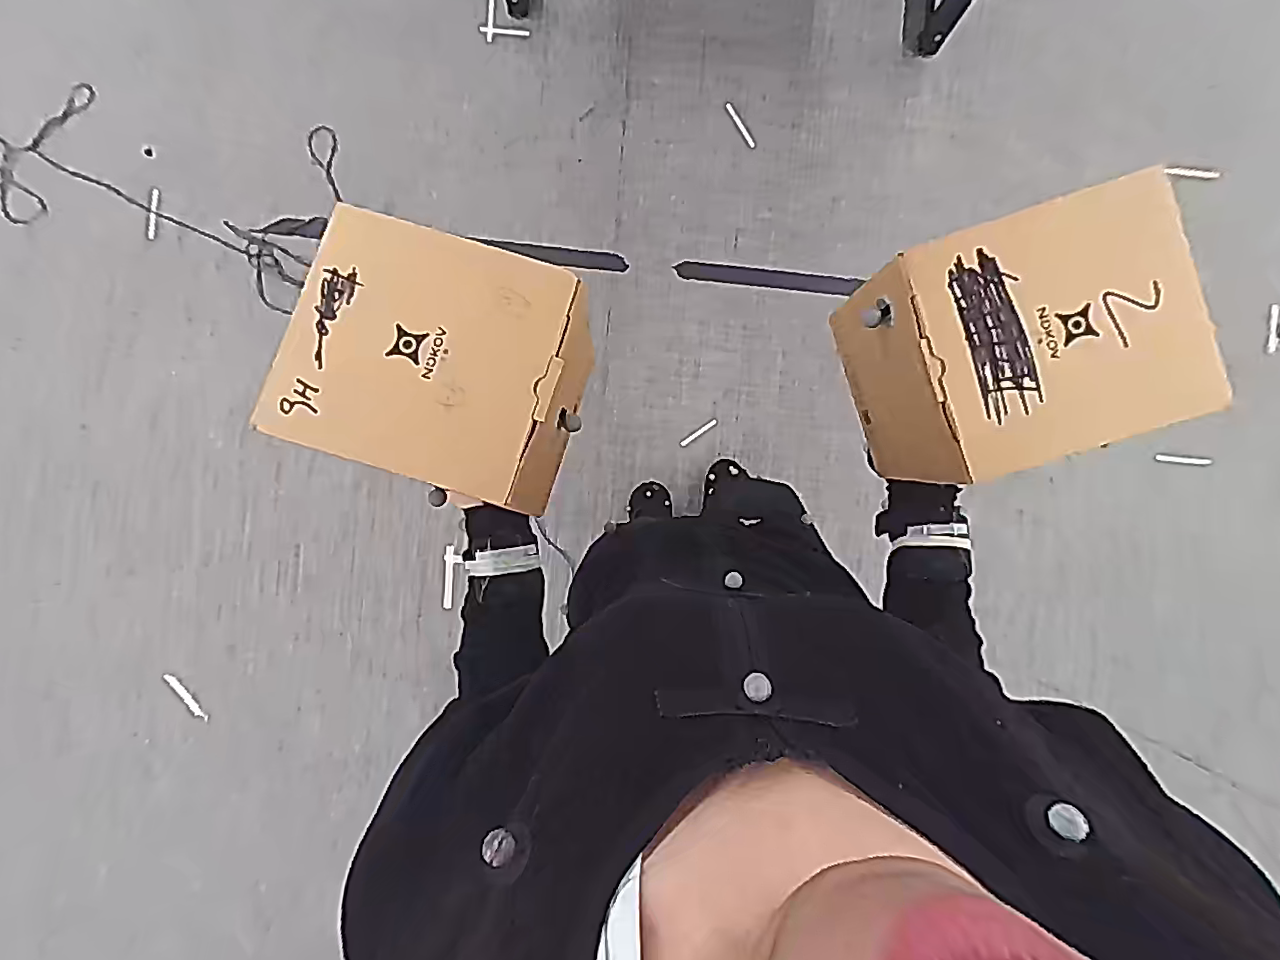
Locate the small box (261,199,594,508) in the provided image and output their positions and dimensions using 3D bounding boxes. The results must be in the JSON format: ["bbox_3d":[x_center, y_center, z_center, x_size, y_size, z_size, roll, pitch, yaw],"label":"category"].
[{"bbox_3d":[-0.141,-0.079,0.435,0.179,0.176,0.168,17,83,-1],"label":"small box"}]
